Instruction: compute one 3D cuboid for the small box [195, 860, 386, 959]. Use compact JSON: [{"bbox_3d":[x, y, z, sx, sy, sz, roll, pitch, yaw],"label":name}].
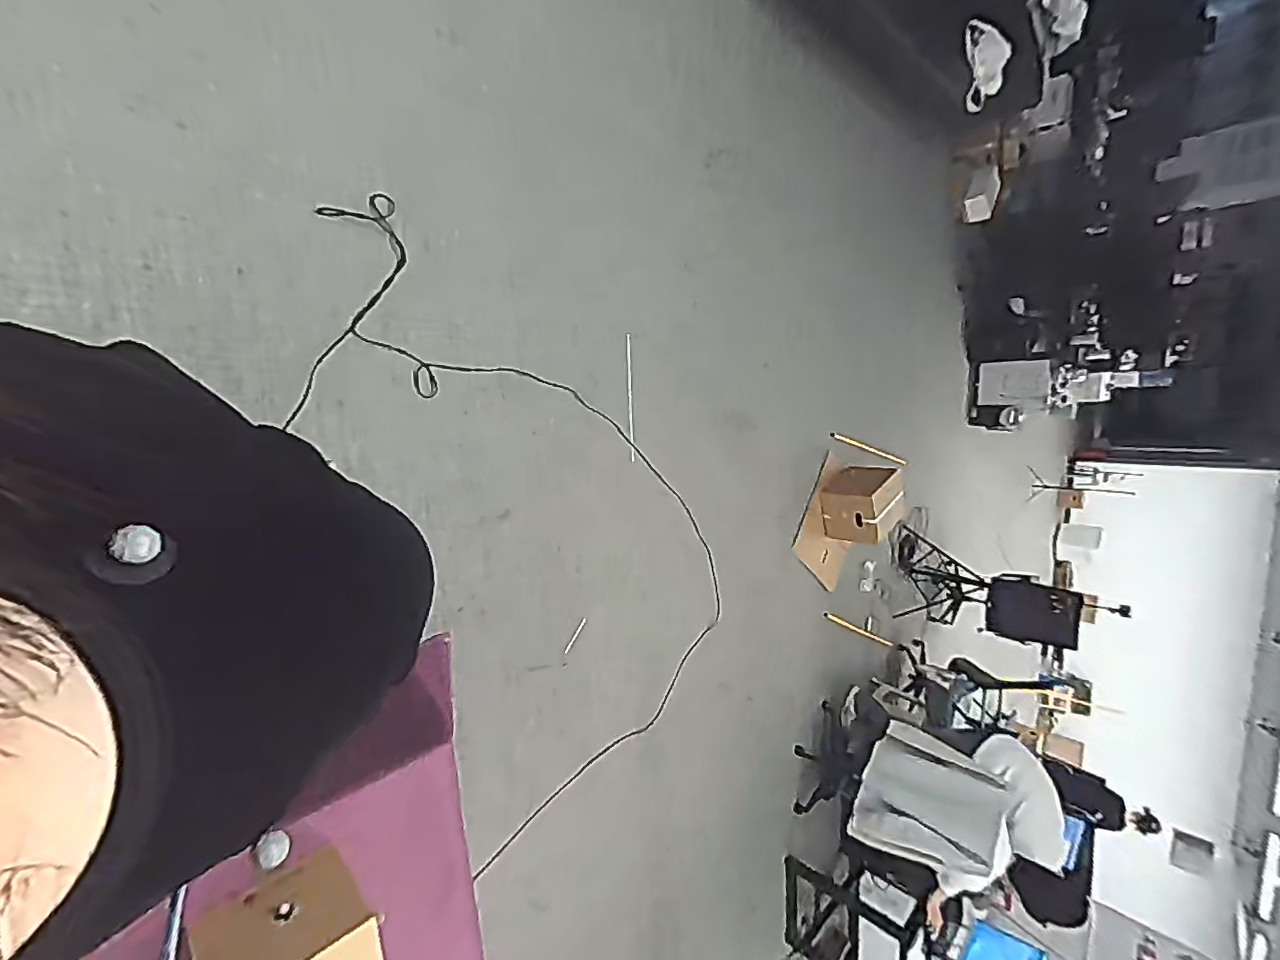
[{"bbox_3d":[-0.421,0.615,0.663,0.168,0.176,0.179,-13,103,-42],"label":"small box"}]
